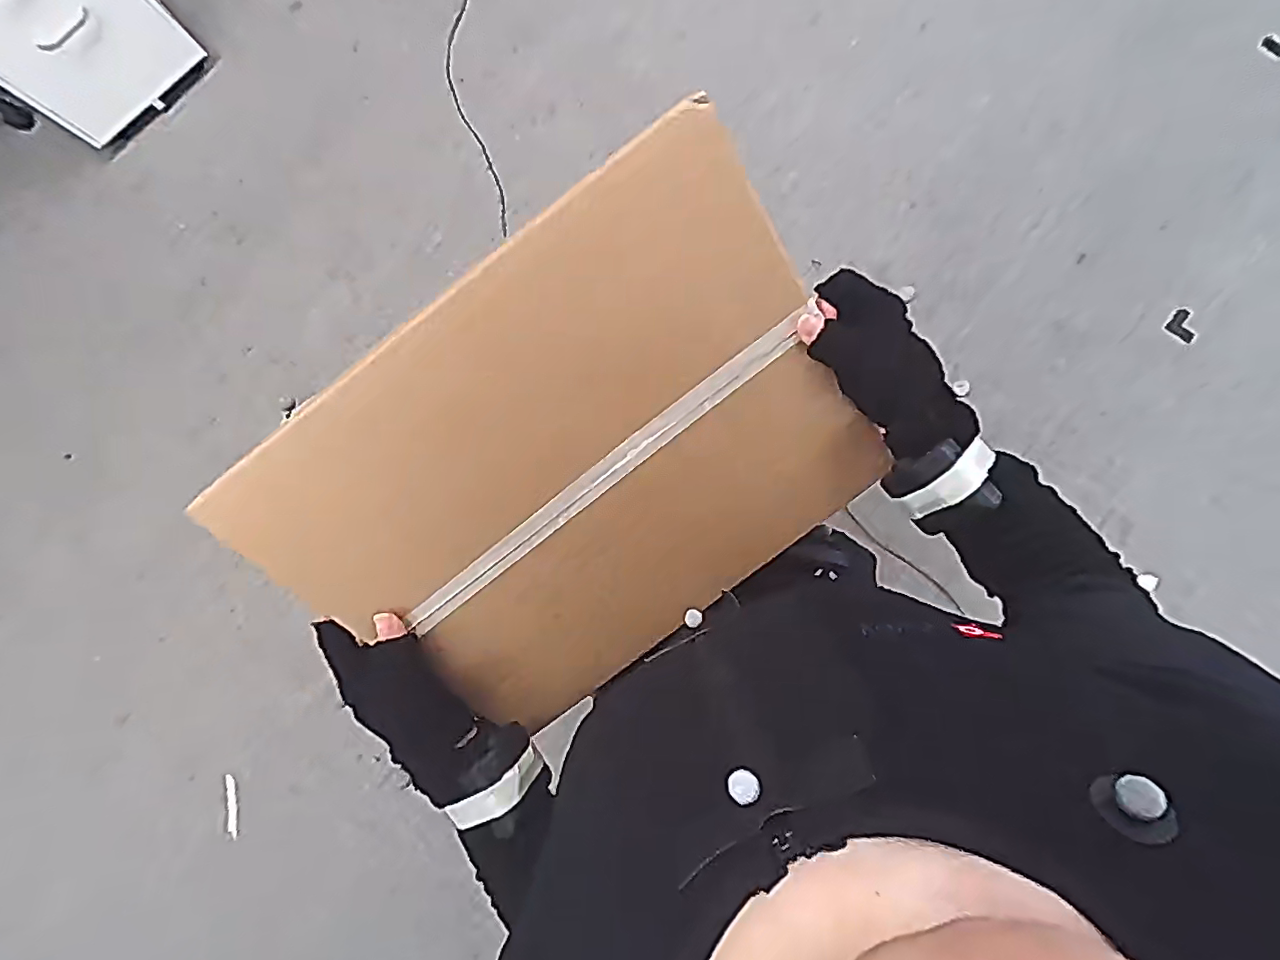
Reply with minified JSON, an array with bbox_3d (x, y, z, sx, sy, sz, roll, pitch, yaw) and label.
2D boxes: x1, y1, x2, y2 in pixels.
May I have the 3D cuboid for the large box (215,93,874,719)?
[{"bbox_3d":[-0.075,-0.065,0.537,0.408,0.320,0.320,-37,118,4],"label":"large box"}]
